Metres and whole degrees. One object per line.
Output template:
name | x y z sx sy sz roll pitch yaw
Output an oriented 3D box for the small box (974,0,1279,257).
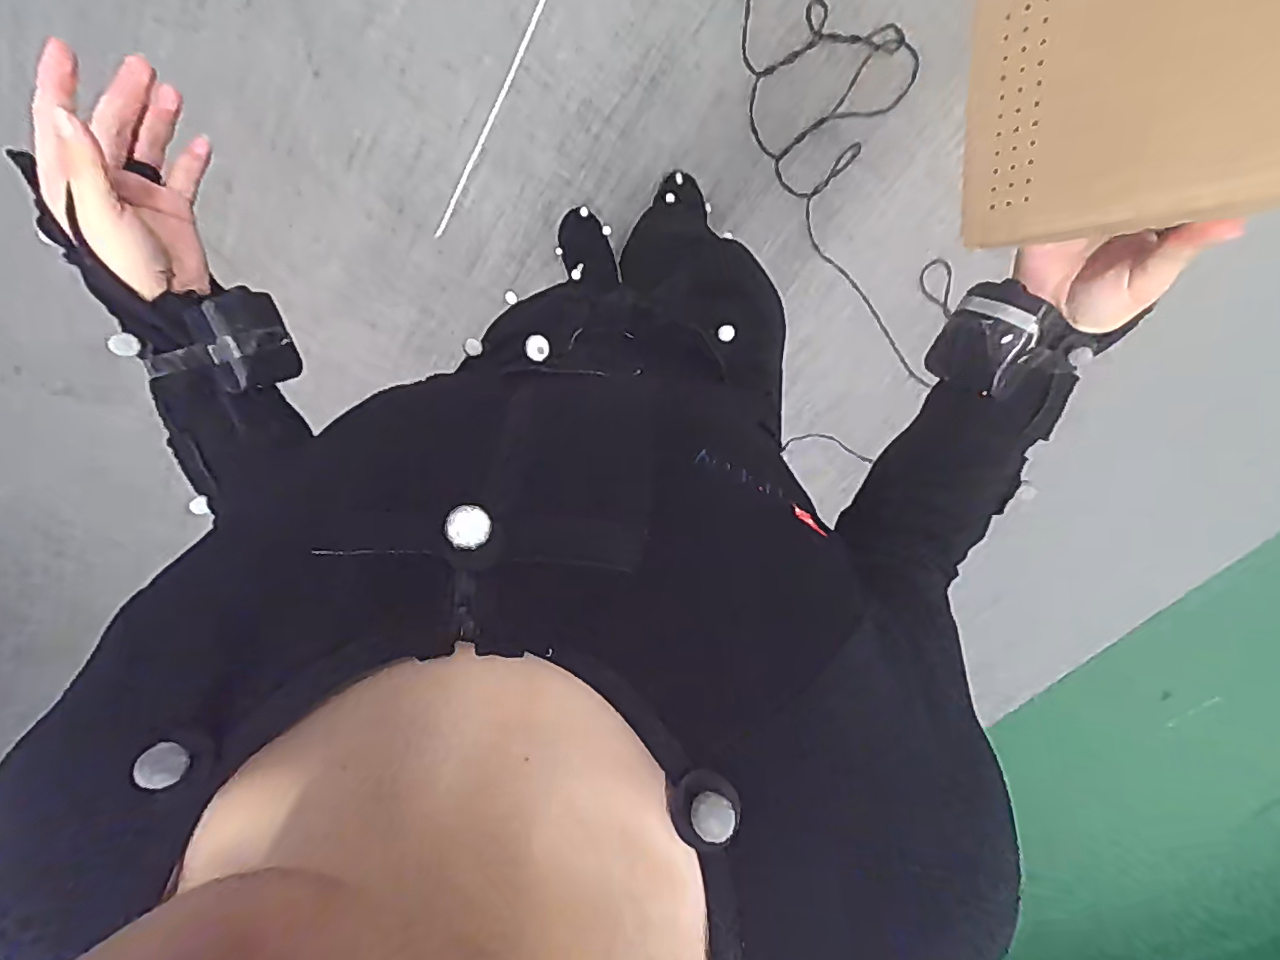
small box | 0.242 -0.184 0.176 0.168 0.176 0.179 -15 109 -21
